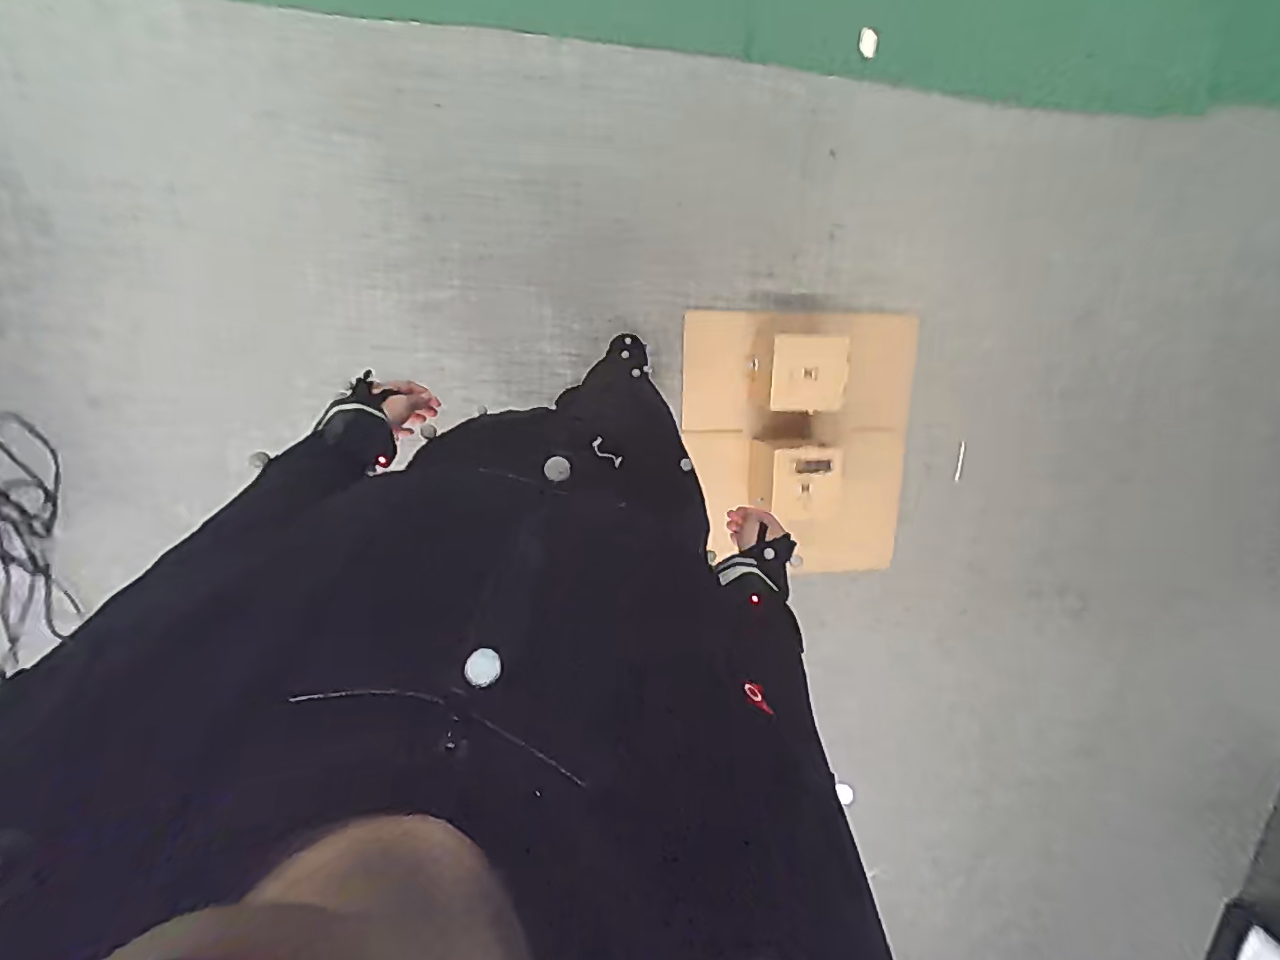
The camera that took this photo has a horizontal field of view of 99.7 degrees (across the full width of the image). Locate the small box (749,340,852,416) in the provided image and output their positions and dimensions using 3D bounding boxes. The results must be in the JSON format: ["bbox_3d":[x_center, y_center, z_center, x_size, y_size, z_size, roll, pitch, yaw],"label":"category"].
[{"bbox_3d":[0.371,-0.242,1.273,0.179,0.176,0.168,0,102,-6],"label":"small box"}]
